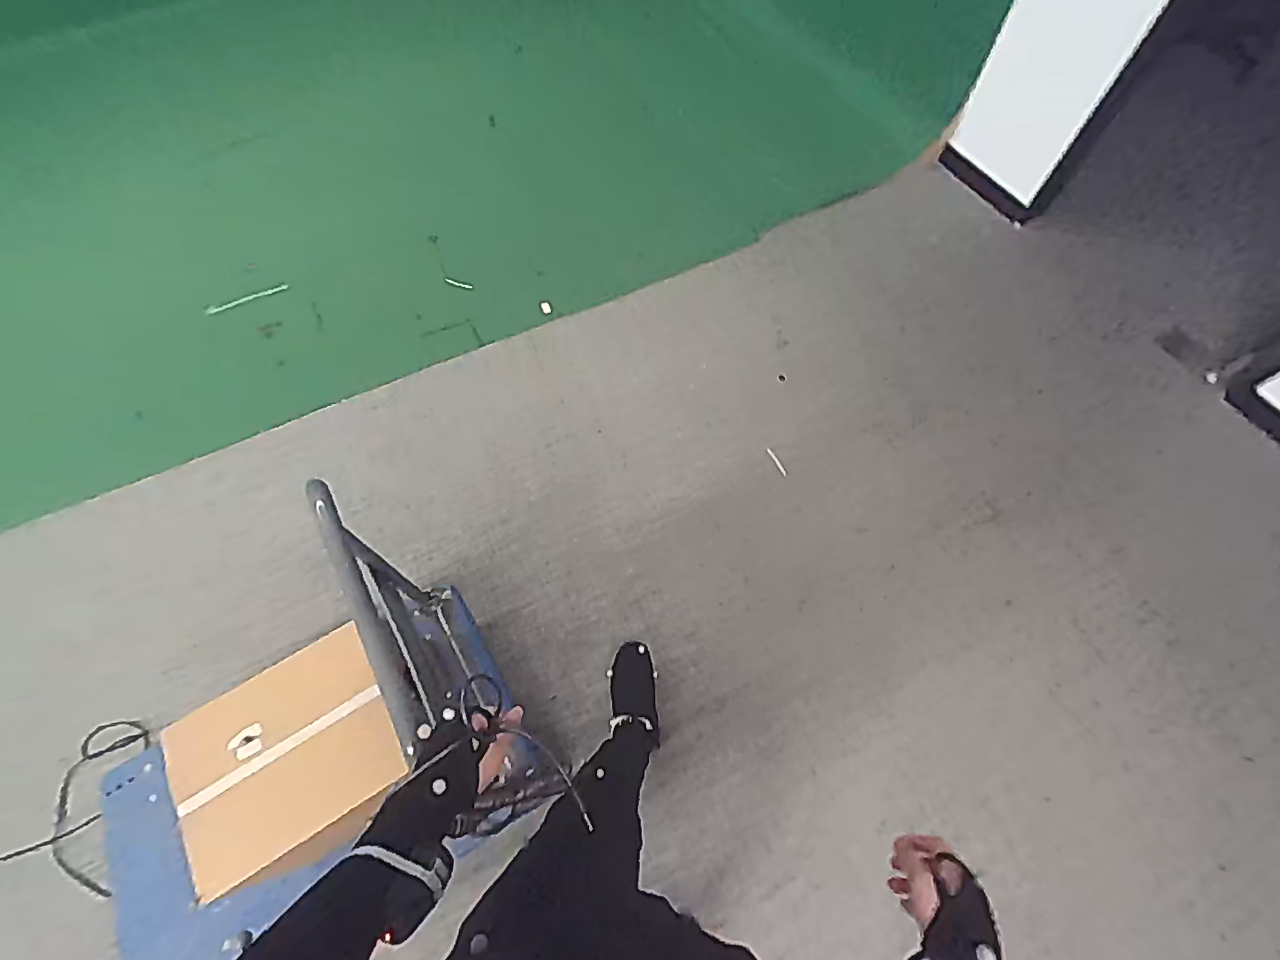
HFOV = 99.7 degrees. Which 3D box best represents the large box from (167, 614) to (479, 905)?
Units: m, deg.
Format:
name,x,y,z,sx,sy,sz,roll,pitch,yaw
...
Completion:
name,x,y,z,sx,sy,sz,roll,pitch,yaw
large box,-0.610,0.536,1.103,0.408,0.320,0.320,-31,67,-11
